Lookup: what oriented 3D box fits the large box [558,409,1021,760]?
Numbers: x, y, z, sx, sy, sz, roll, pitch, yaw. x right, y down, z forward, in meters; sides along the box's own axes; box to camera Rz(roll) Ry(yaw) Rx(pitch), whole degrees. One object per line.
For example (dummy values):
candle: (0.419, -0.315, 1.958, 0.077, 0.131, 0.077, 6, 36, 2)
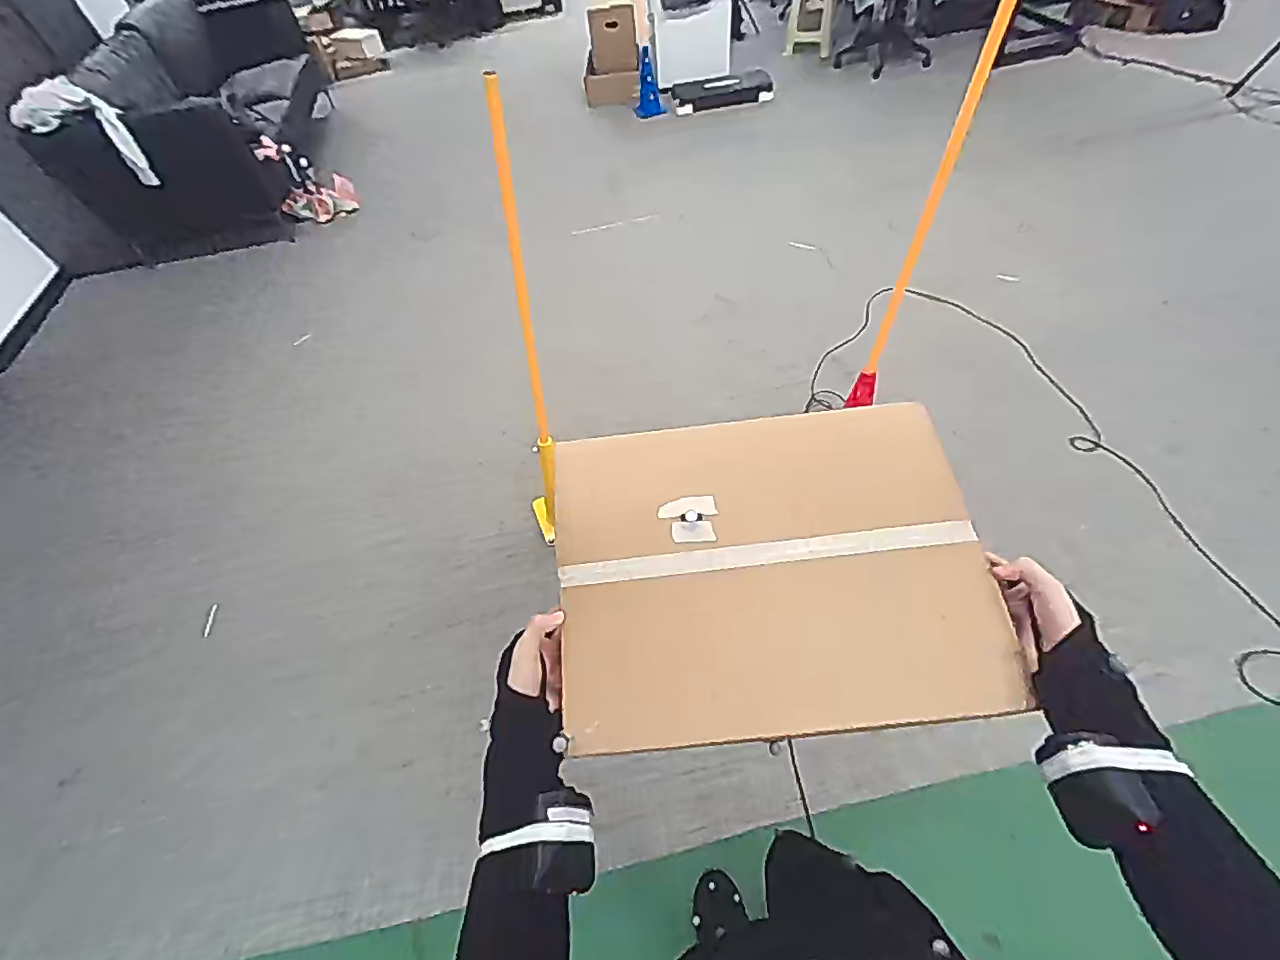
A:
large box: (0.135, 0.148, 0.670, 0.408, 0.320, 0.320, -8, 62, 2)
